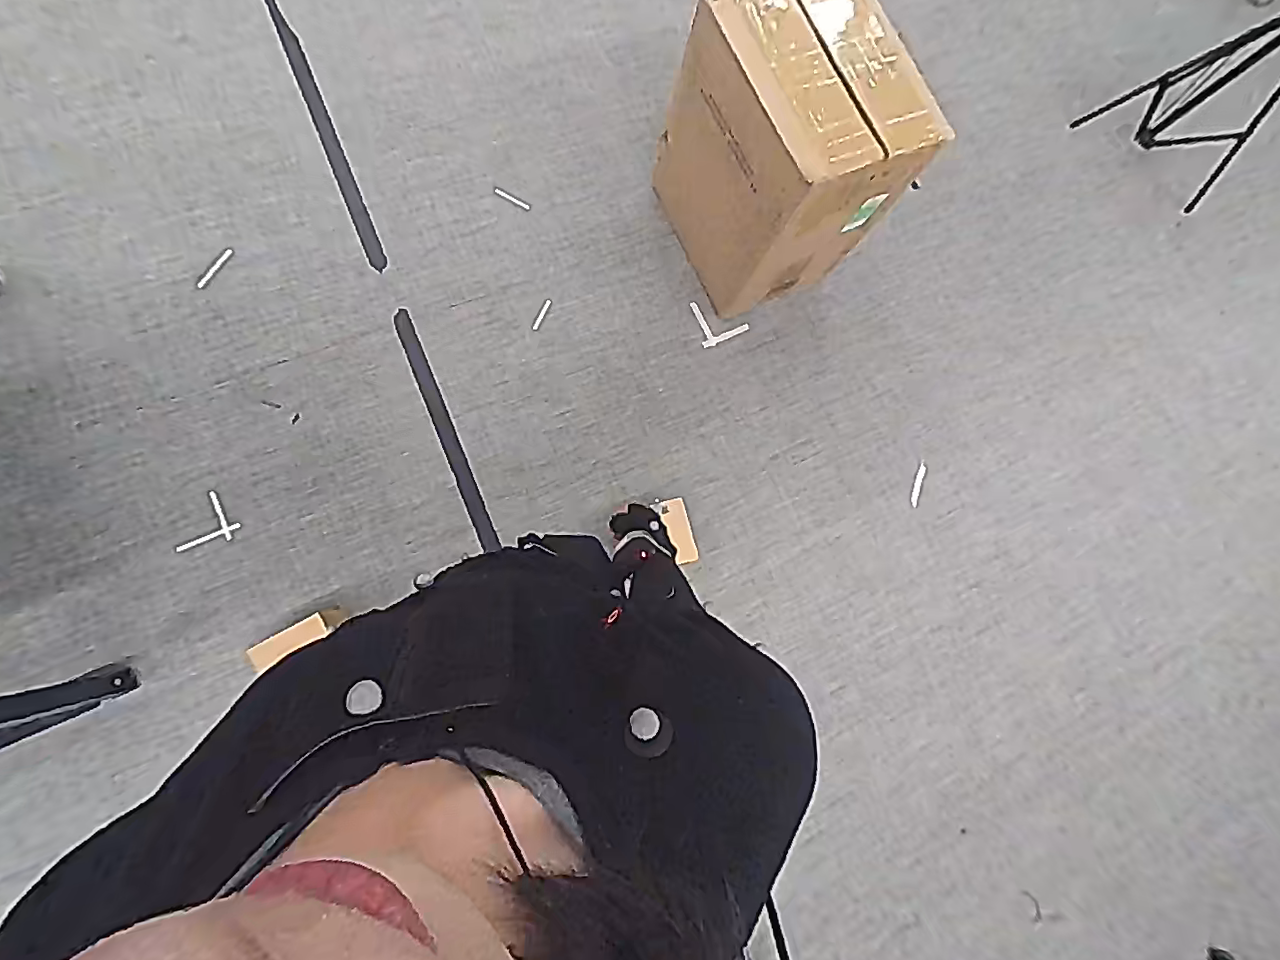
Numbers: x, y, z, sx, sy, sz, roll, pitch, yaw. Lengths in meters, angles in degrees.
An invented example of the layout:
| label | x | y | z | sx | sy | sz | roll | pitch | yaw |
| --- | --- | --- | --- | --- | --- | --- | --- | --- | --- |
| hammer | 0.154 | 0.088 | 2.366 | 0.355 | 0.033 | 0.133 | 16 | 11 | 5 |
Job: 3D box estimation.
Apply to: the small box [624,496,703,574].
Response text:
| label | x | y | z | sx | sy | sz | roll | pitch | yaw |
| --- | --- | --- | --- | --- | --- | --- | --- | --- | --- |
| small box | 0.060 | 0.155 | 1.500 | 0.168 | 0.176 | 0.179 | -14 | 83 | -11 |

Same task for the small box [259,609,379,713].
| label | x | y | z | sx | sy | sz | roll | pitch | yaw |
| --- | --- | --- | --- | --- | --- | --- | --- | --- | --- |
| small box | -0.773 | 0.432 | 1.323 | 0.168 | 0.176 | 0.179 | -29 | 84 | -13 |
